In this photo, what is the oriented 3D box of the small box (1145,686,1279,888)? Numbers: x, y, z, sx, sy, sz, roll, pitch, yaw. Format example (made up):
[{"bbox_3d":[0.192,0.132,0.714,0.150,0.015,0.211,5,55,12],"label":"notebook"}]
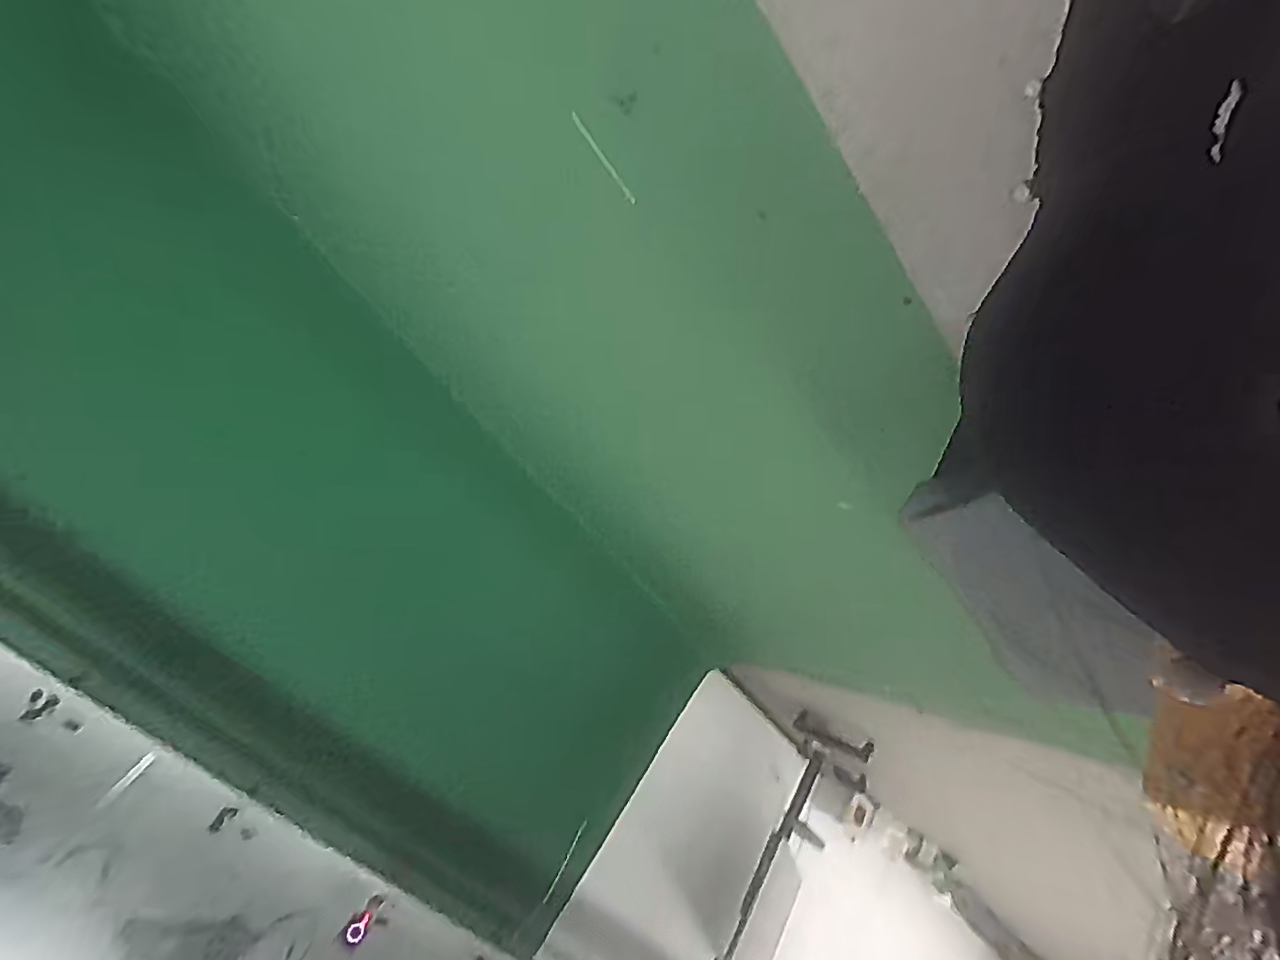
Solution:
[{"bbox_3d":[0.771,0.379,0.664,0.168,0.176,0.179,46,152,-16],"label":"small box"}]

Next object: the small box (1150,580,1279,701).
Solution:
[{"bbox_3d":[0.849,0.259,0.742,0.179,0.176,0.168,47,151,-17],"label":"small box"}]
